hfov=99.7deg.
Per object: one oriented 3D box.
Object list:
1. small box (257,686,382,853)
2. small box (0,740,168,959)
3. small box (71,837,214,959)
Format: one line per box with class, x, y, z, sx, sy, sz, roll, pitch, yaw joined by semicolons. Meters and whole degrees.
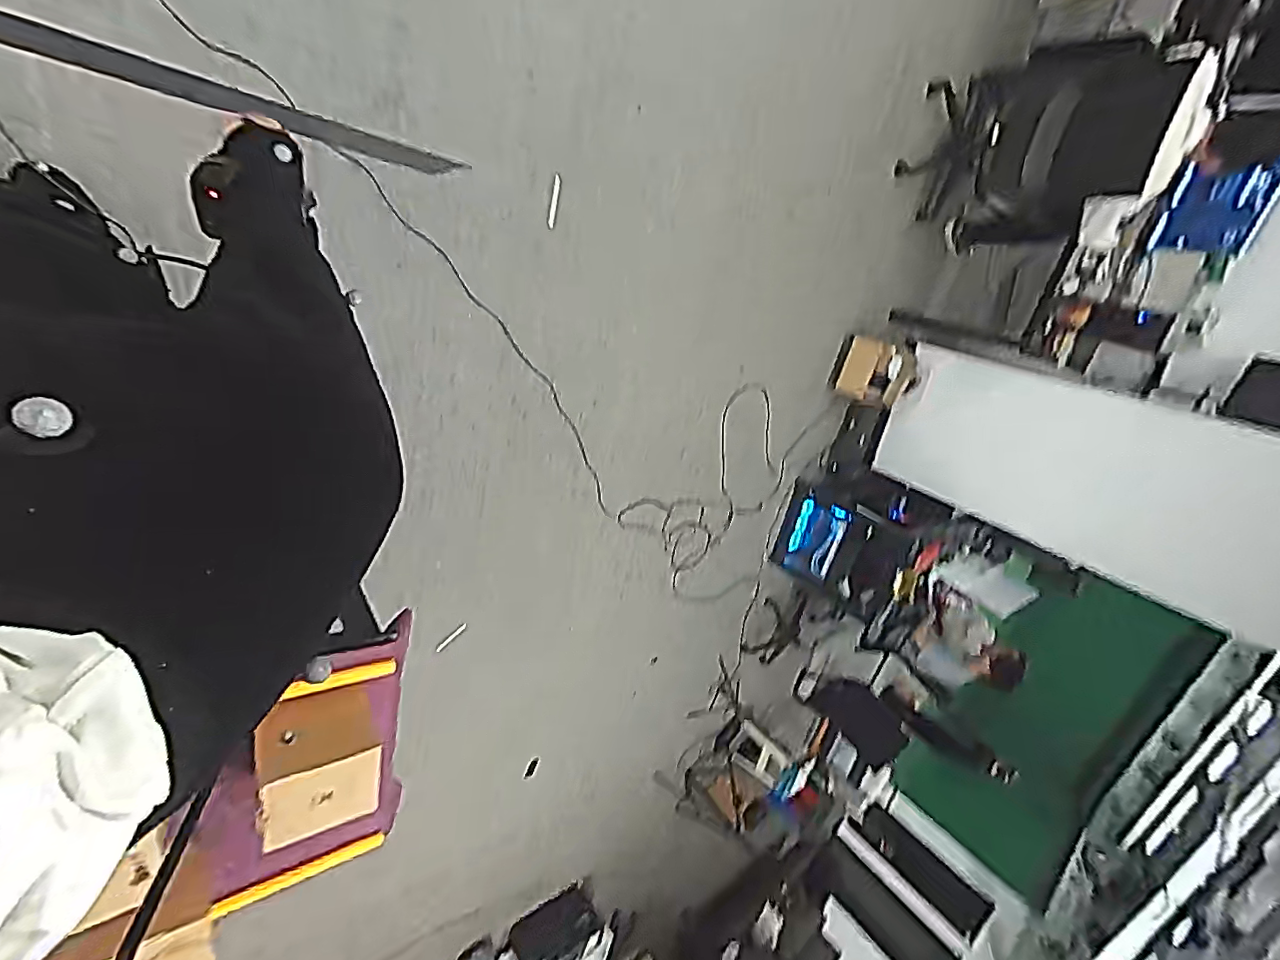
small box;-0.581;0.507;0.973;0.179;0.176;0.168;-4;118;-38
small box;-0.807;0.521;0.783;0.179;0.176;0.168;-5;118;-39
small box;-0.826;0.760;0.911;0.168;0.176;0.179;-4;115;-40
